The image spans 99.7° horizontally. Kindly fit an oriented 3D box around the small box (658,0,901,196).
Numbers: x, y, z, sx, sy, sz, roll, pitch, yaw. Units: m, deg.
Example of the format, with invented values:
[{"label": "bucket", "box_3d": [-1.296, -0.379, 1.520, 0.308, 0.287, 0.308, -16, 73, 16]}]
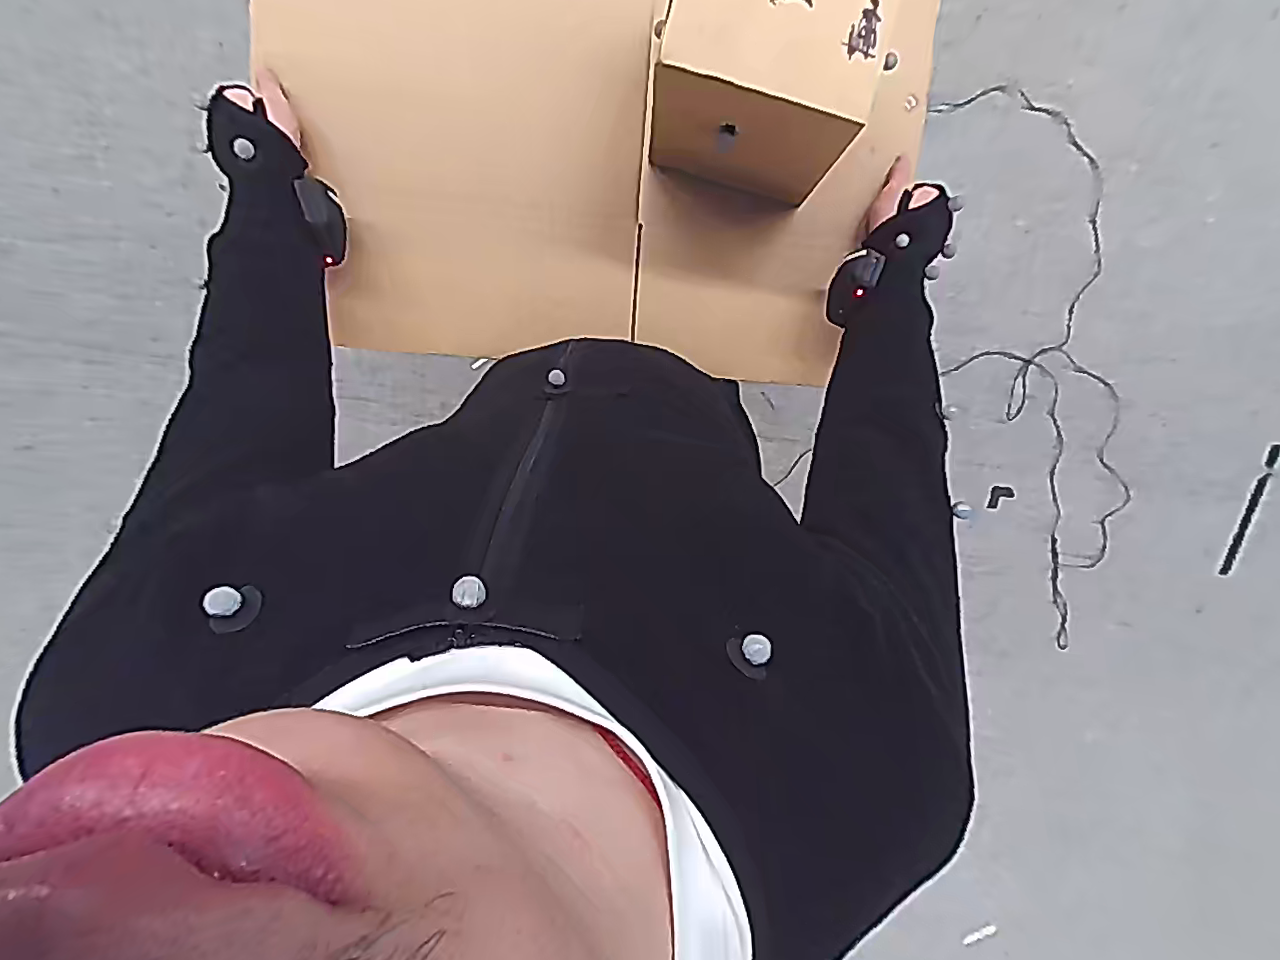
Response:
[{"label": "small box", "box_3d": [0.118, -0.394, 0.503, 0.179, 0.176, 0.168, 15, 97, -2]}]
